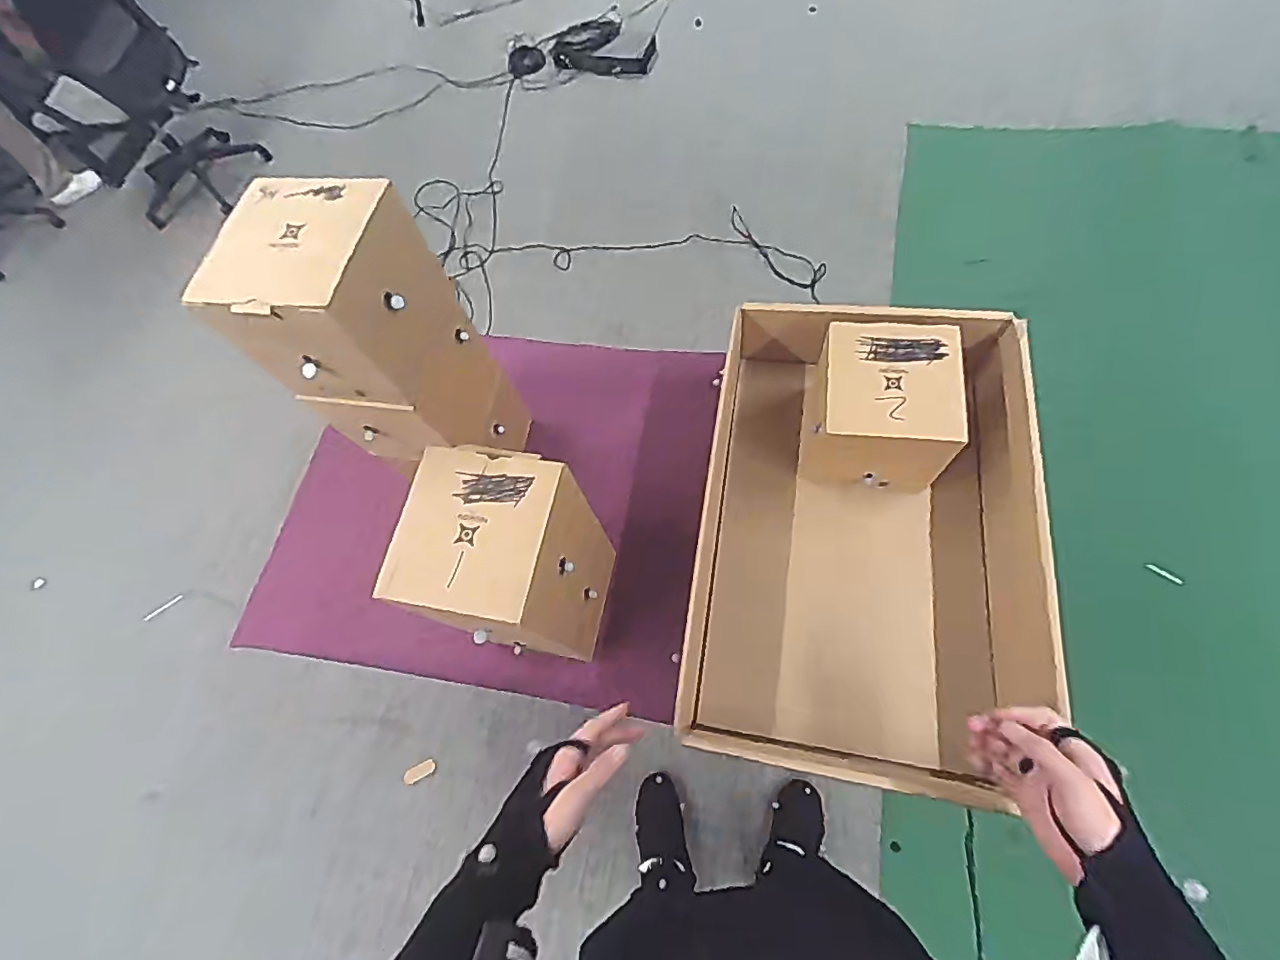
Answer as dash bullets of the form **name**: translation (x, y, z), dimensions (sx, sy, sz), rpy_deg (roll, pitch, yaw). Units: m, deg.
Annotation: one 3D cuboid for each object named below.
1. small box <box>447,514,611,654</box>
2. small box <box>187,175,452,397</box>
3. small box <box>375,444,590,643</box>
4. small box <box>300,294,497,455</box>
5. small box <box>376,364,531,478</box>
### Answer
- **small box**: translation (-0.146, 0.146, 0.787), dimensions (0.168, 0.176, 0.179), rpy_deg (9, 68, 11)
- **small box**: translation (-0.340, -0.212, 0.616), dimensions (0.168, 0.176, 0.179), rpy_deg (7, 68, 10)
- **small box**: translation (-0.165, 0.080, 0.639), dimensions (0.168, 0.176, 0.179), rpy_deg (8, 68, 12)
- **small box**: translation (-0.322, -0.142, 0.764), dimensions (0.168, 0.176, 0.179), rpy_deg (7, 67, 10)
- **small box**: translation (-0.300, -0.083, 0.912), dimensions (0.168, 0.176, 0.179), rpy_deg (8, 68, 10)
